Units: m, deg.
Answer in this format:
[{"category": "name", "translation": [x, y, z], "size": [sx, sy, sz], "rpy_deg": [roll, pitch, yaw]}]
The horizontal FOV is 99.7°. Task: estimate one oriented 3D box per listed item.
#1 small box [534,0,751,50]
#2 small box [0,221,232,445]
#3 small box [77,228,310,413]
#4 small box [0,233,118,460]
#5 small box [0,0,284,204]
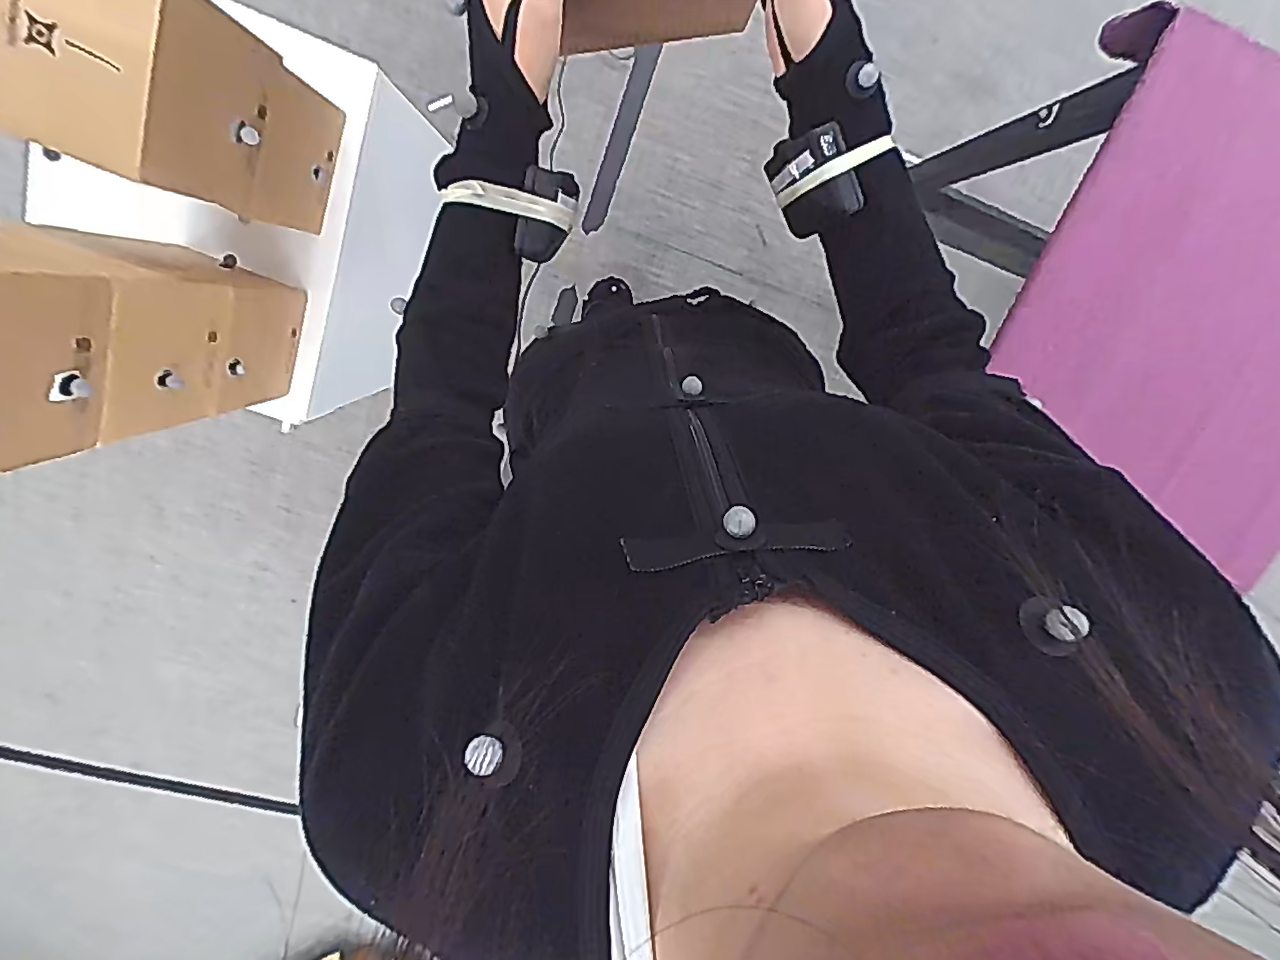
[{"category": "small box", "translation": [0.001, -0.427, 0.363], "size": [0.179, 0.176, 0.168], "rpy_deg": [-7, 109, 1]}, {"category": "small box", "translation": [-0.567, -0.156, 0.557], "size": [0.179, 0.176, 0.168], "rpy_deg": [18, 106, -9]}, {"category": "small box", "translation": [-0.579, -0.205, 0.711], "size": [0.179, 0.176, 0.168], "rpy_deg": [20, 106, -9]}, {"category": "small box", "translation": [-0.558, -0.109, 0.402], "size": [0.179, 0.176, 0.168], "rpy_deg": [17, 107, -10]}, {"category": "small box", "translation": [-0.472, -0.375, 0.491], "size": [0.179, 0.176, 0.168], "rpy_deg": [20, 106, -11]}]
